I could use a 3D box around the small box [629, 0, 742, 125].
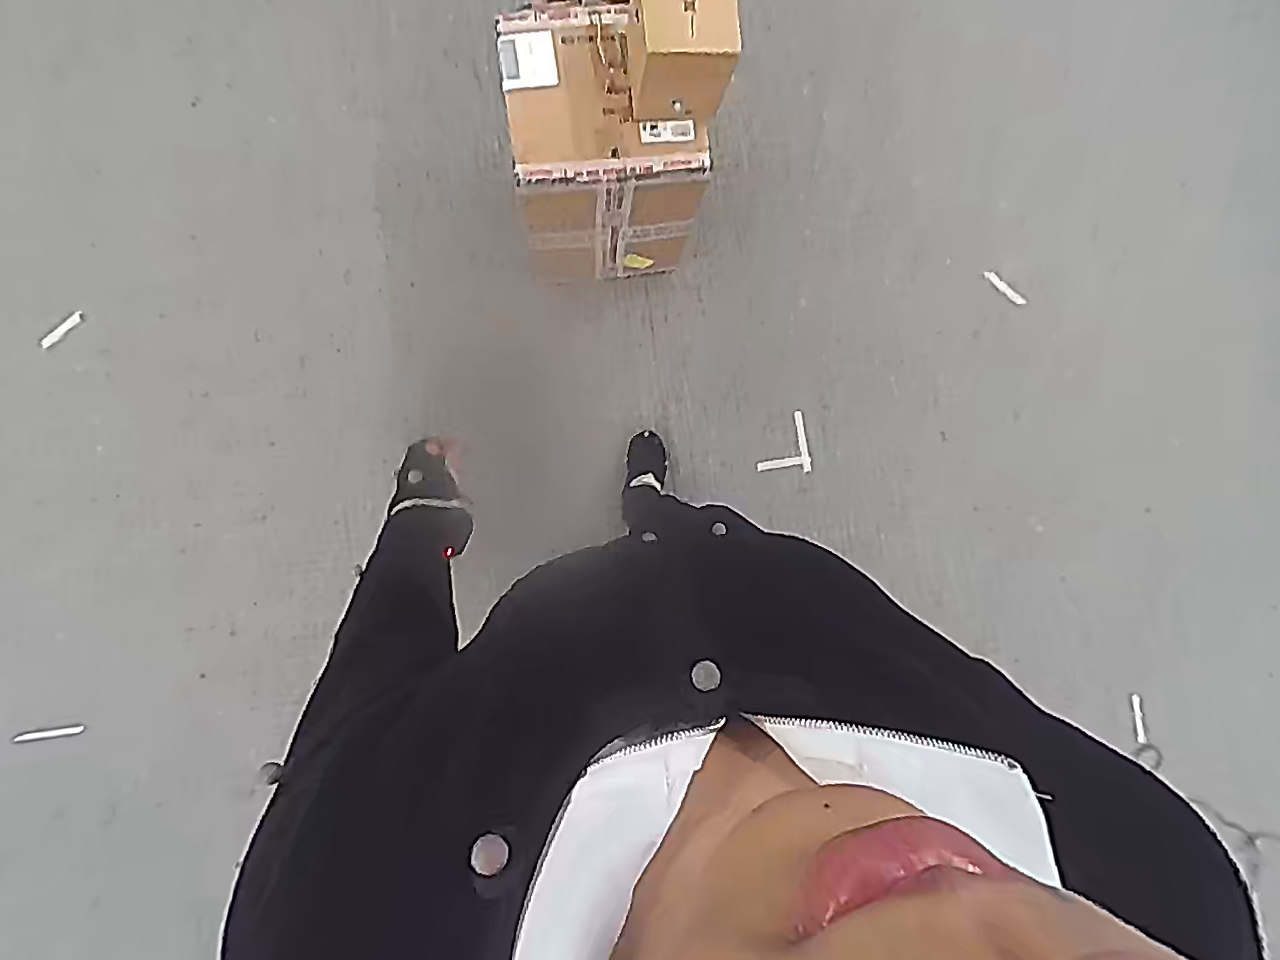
[{"bbox_3d":[0.075,-0.787,0.980,0.168,0.176,0.179,-5,90,-7],"label":"small box"}]
